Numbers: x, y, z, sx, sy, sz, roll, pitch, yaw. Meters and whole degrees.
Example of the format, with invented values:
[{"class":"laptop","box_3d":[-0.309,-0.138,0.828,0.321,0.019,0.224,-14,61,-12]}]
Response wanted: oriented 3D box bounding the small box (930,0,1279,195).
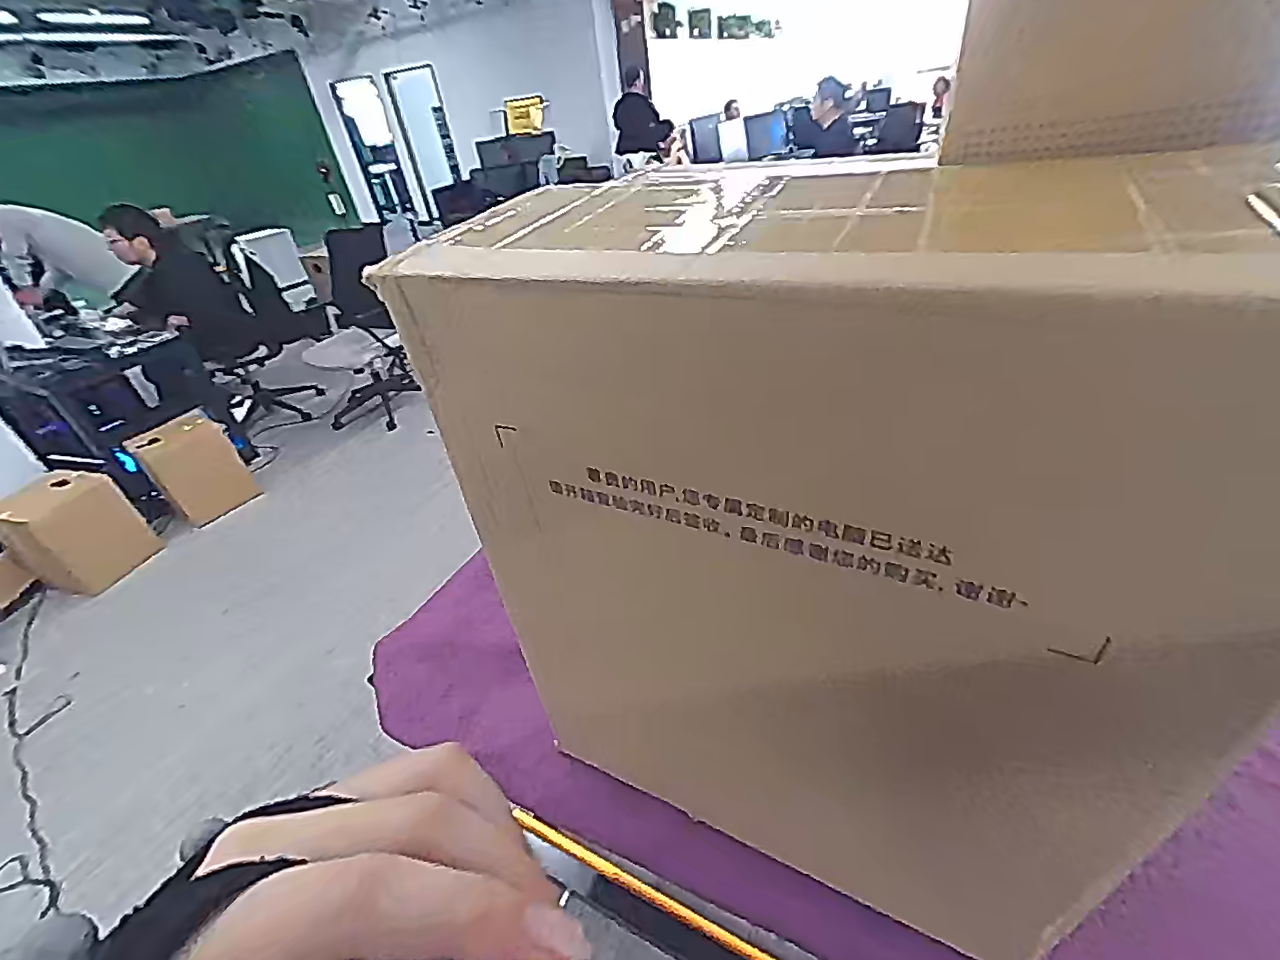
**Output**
[{"class":"small box","box_3d":[0.300,-0.295,0.346,0.179,0.176,0.168,7,38,23]}]
